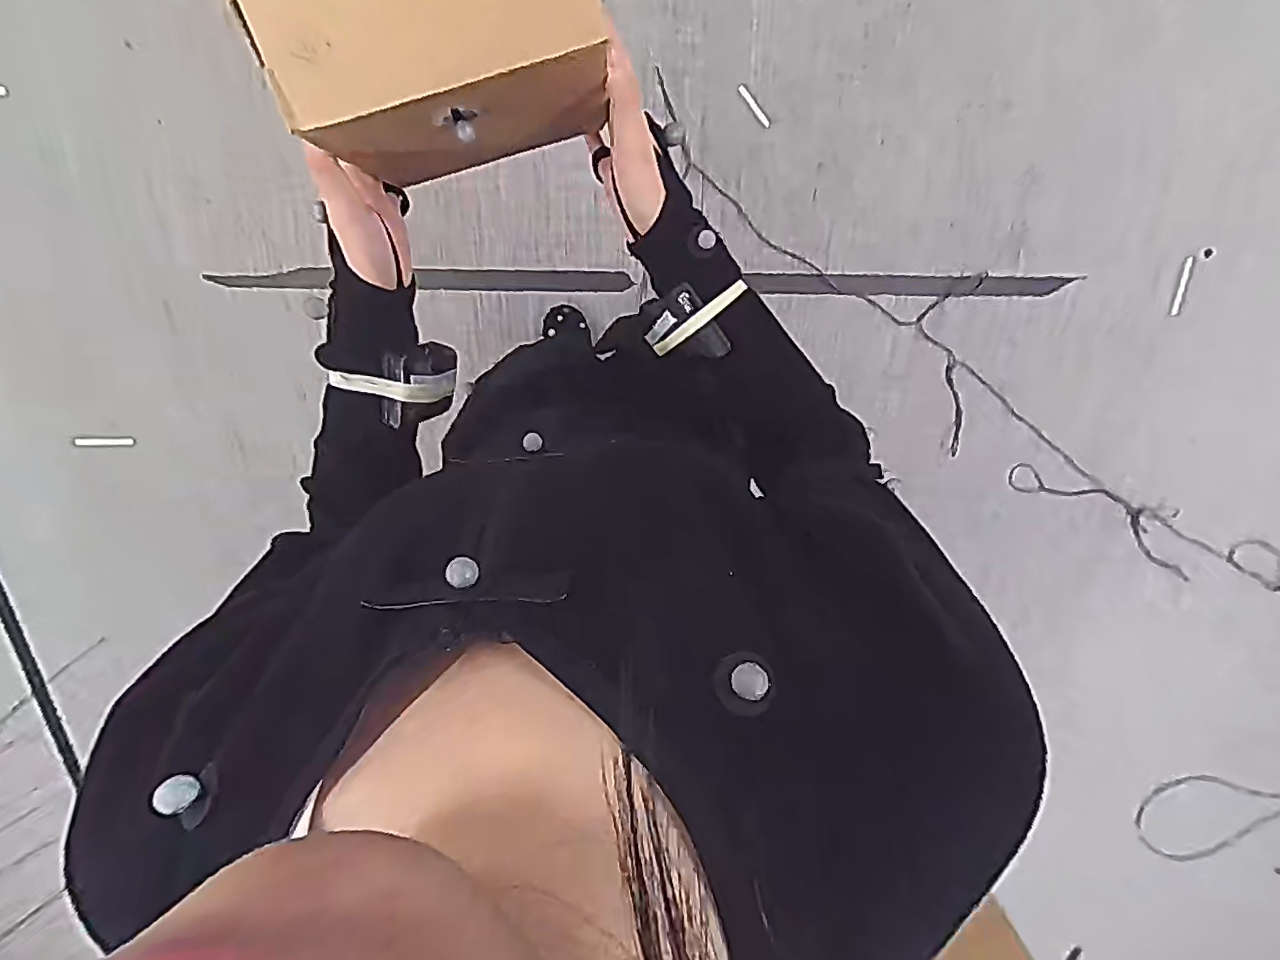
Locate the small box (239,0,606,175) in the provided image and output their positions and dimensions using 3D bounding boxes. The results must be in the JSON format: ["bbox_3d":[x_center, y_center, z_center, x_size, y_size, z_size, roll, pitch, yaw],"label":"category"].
[{"bbox_3d":[-0.124,-0.306,0.328,0.179,0.176,0.168,-15,111,0],"label":"small box"}]

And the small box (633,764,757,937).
[{"bbox_3d":[0.081,0.588,0.875,0.179,0.176,0.168,-3,108,0],"label":"small box"}]
